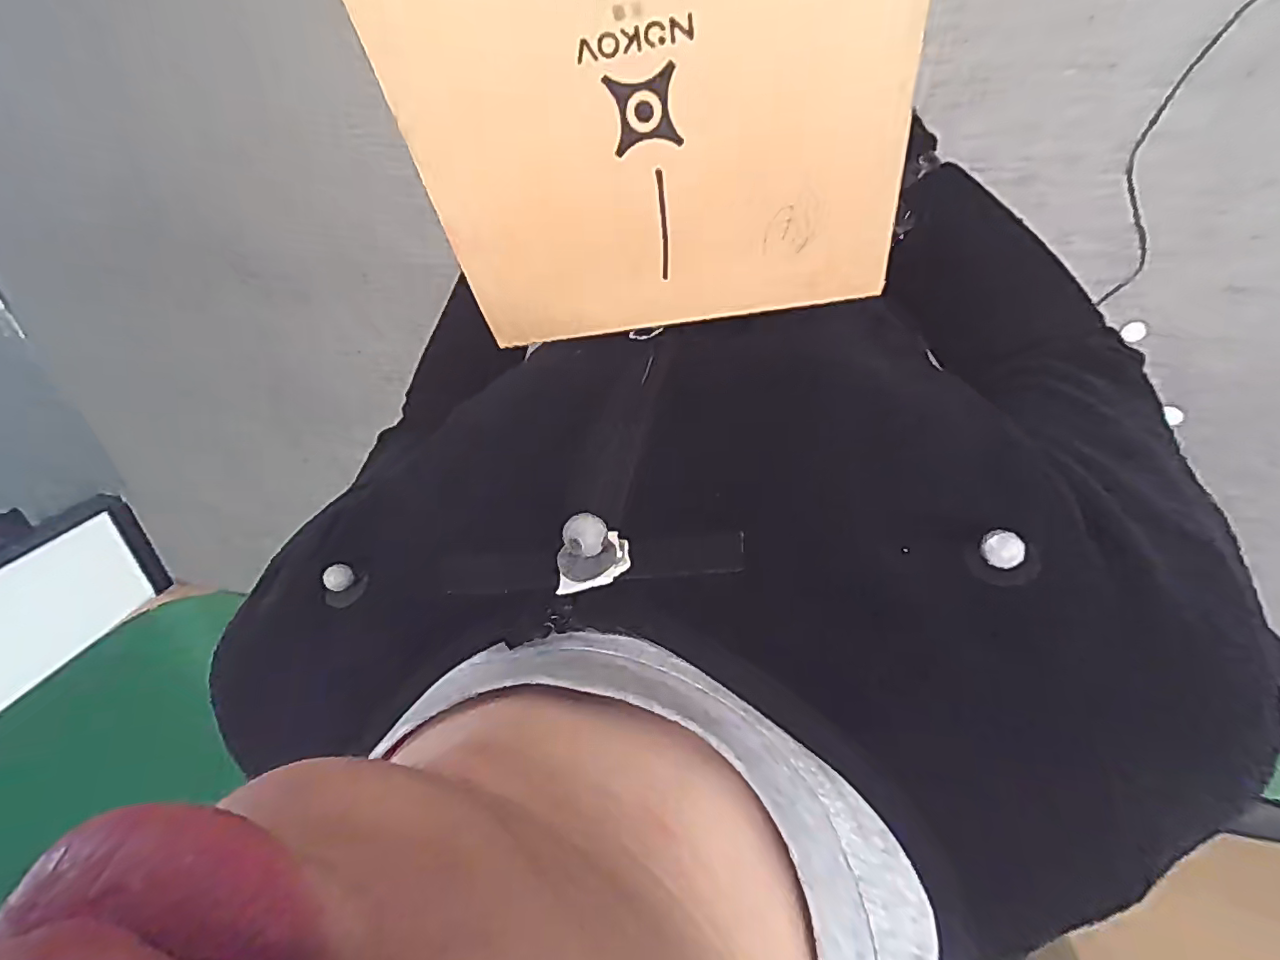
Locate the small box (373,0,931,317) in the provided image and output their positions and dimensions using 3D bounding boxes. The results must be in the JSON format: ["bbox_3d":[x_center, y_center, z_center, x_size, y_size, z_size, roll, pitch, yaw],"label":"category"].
[{"bbox_3d":[0.006,-0.196,0.219,0.168,0.176,0.179,-5,138,10],"label":"small box"}]
